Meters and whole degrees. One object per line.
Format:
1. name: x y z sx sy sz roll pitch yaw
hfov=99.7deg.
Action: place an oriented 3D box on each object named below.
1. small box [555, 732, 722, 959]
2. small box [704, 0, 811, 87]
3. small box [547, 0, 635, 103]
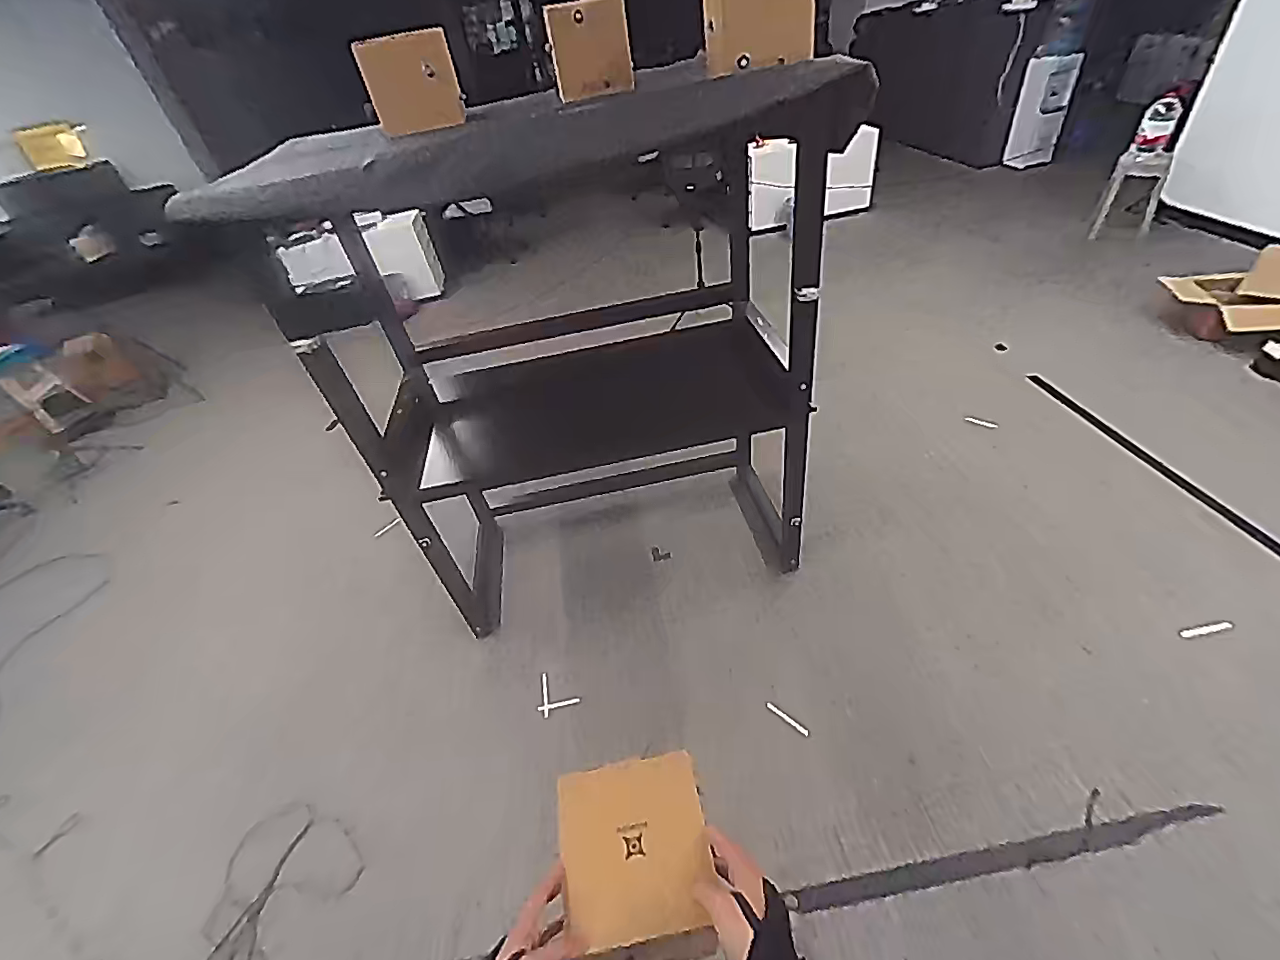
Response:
1. small box: -0.005 0.441 0.650 0.168 0.176 0.179 -8 39 -7
2. small box: 0.222 -0.867 1.030 0.168 0.176 0.179 -10 37 1
3. small box: -0.113 -0.981 1.239 0.168 0.176 0.179 -12 41 -2
